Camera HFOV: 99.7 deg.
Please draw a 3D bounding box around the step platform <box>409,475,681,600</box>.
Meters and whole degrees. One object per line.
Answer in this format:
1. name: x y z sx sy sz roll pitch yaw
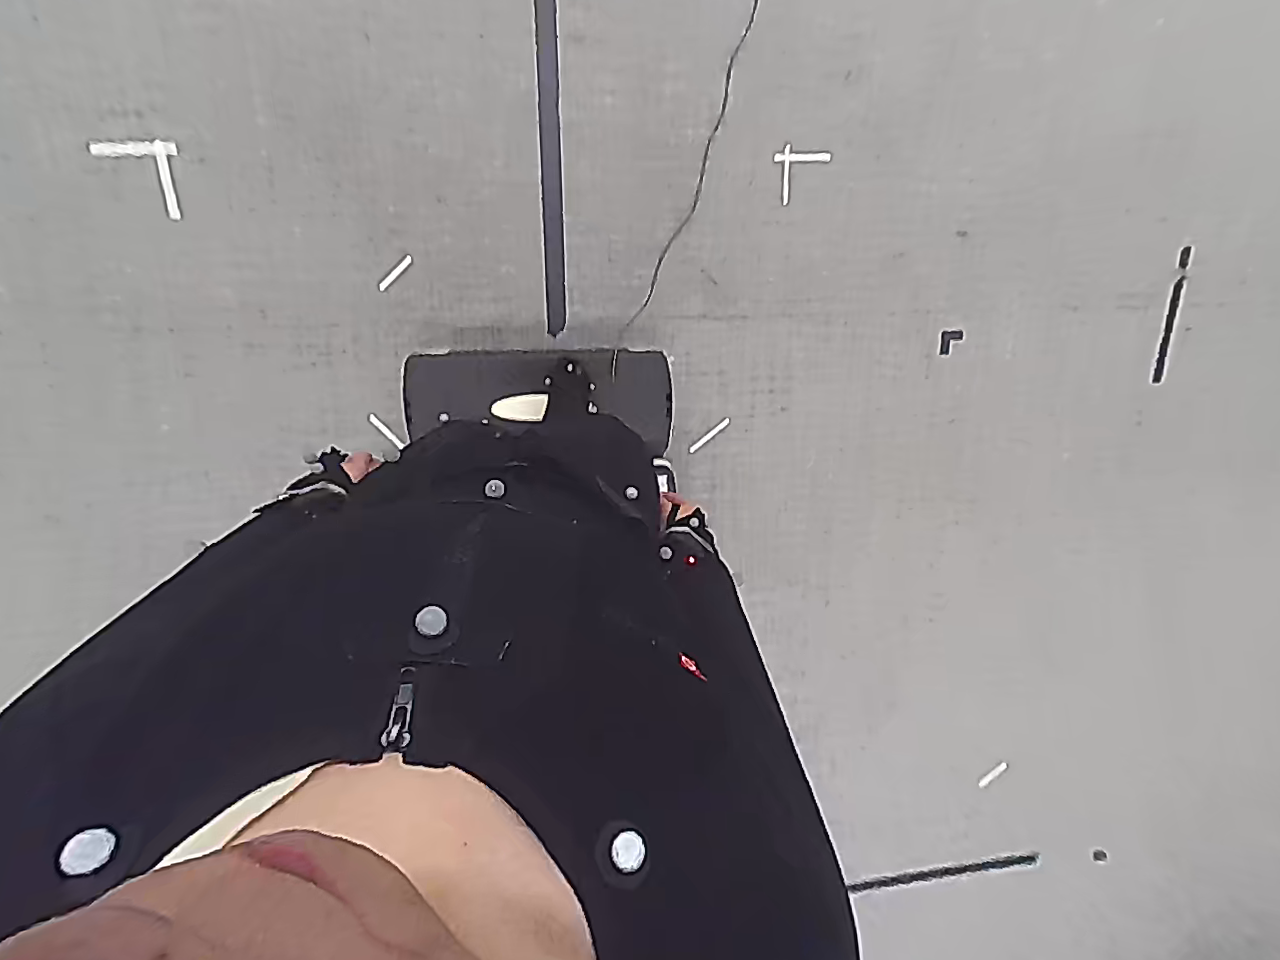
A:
1. step platform: -0.235 0.152 1.413 0.684 0.204 0.286 2 100 -7
